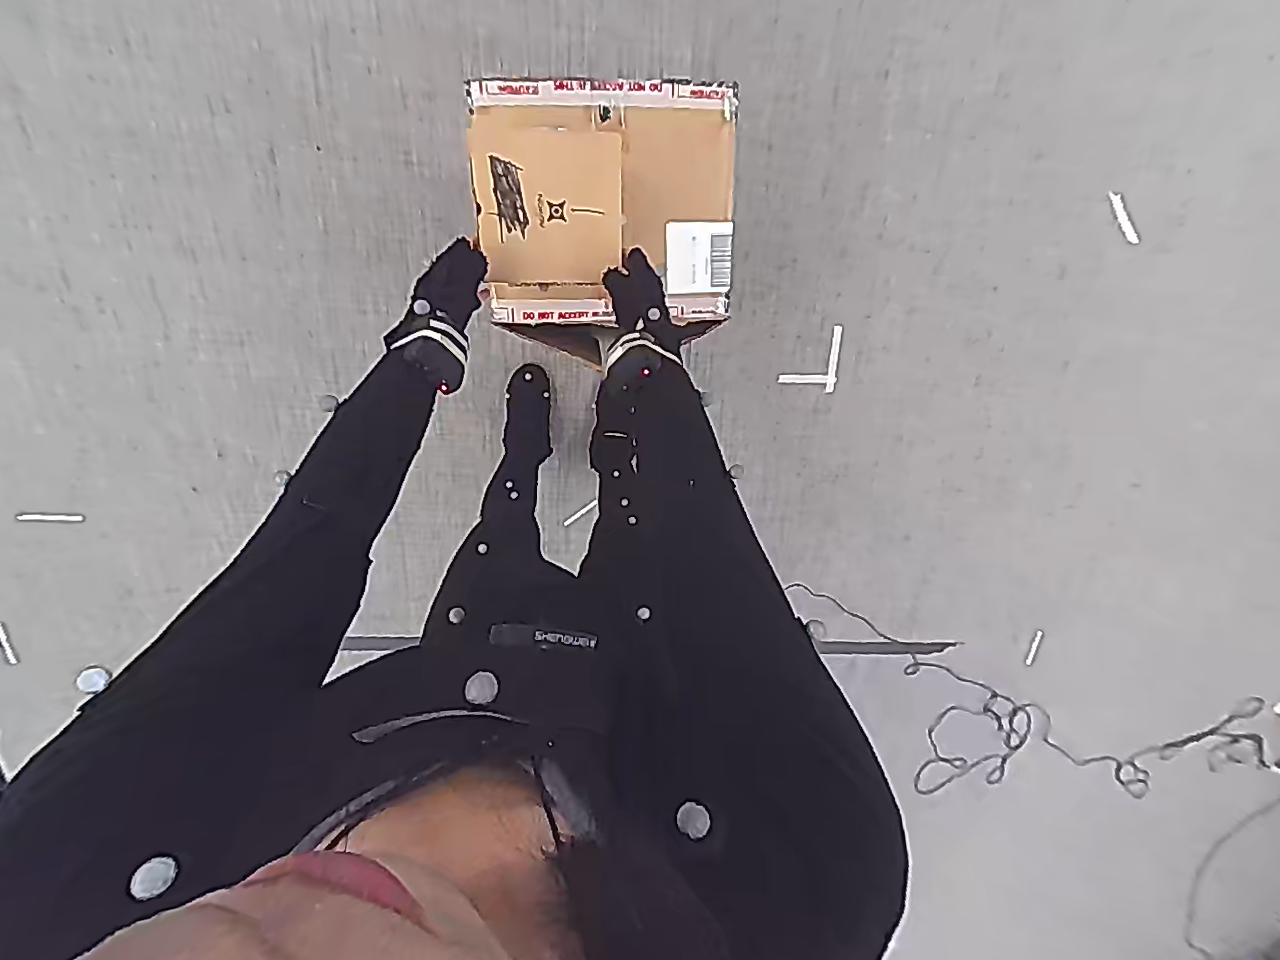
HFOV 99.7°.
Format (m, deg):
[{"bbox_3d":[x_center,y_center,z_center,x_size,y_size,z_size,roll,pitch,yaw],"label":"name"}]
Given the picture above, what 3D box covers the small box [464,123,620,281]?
[{"bbox_3d":[-0.120,-0.355,0.712,0.179,0.176,0.168,-2,114,-7],"label":"small box"}]
